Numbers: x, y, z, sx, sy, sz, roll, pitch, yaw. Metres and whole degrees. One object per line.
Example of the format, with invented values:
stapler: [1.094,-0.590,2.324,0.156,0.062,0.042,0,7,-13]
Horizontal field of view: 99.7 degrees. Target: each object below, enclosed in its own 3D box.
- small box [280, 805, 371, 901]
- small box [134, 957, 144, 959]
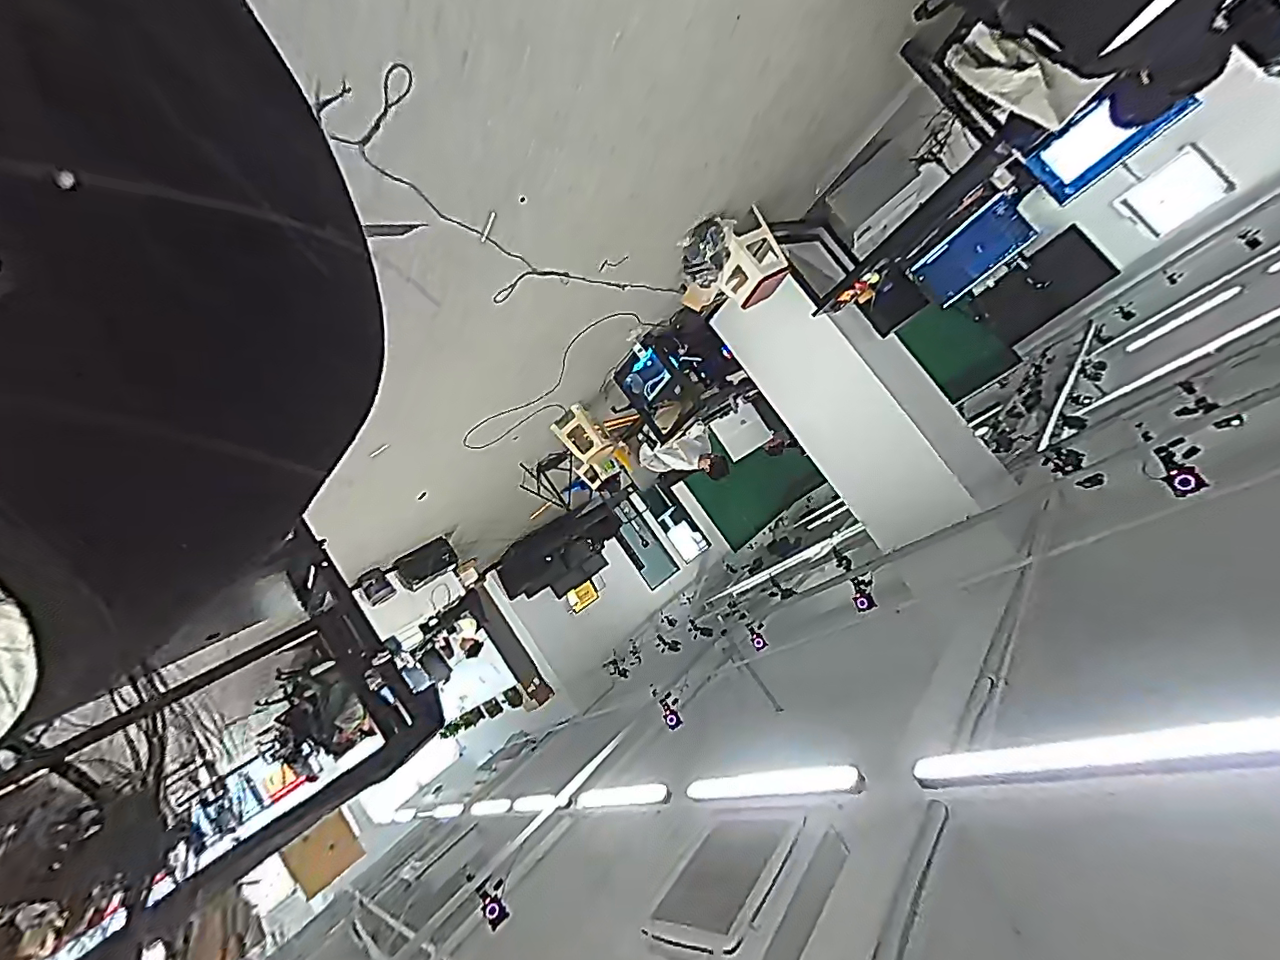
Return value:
small box: [-0.927,1.088,1.587,0.168,0.176,0.179,-28,172,-46]
small box: [-1.219,1.251,1.241,0.168,0.176,0.179,-31,172,-45]
